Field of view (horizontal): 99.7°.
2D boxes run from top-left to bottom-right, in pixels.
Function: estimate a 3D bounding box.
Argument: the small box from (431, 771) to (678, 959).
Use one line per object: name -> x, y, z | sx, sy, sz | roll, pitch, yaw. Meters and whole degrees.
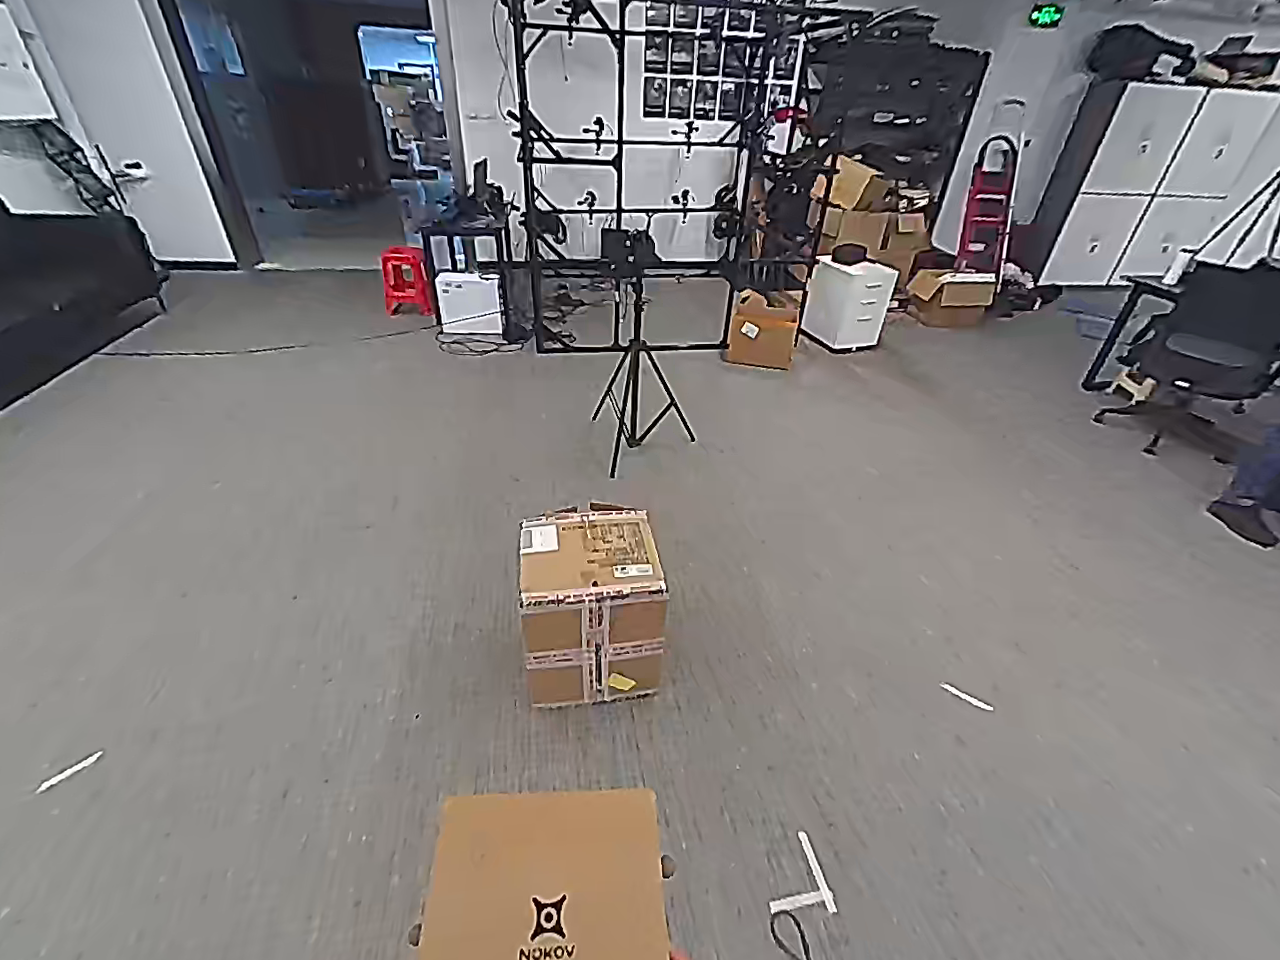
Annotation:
small box -> -0.066, 0.359, 0.430 | 0.168, 0.176, 0.179 | 1, 41, -7
